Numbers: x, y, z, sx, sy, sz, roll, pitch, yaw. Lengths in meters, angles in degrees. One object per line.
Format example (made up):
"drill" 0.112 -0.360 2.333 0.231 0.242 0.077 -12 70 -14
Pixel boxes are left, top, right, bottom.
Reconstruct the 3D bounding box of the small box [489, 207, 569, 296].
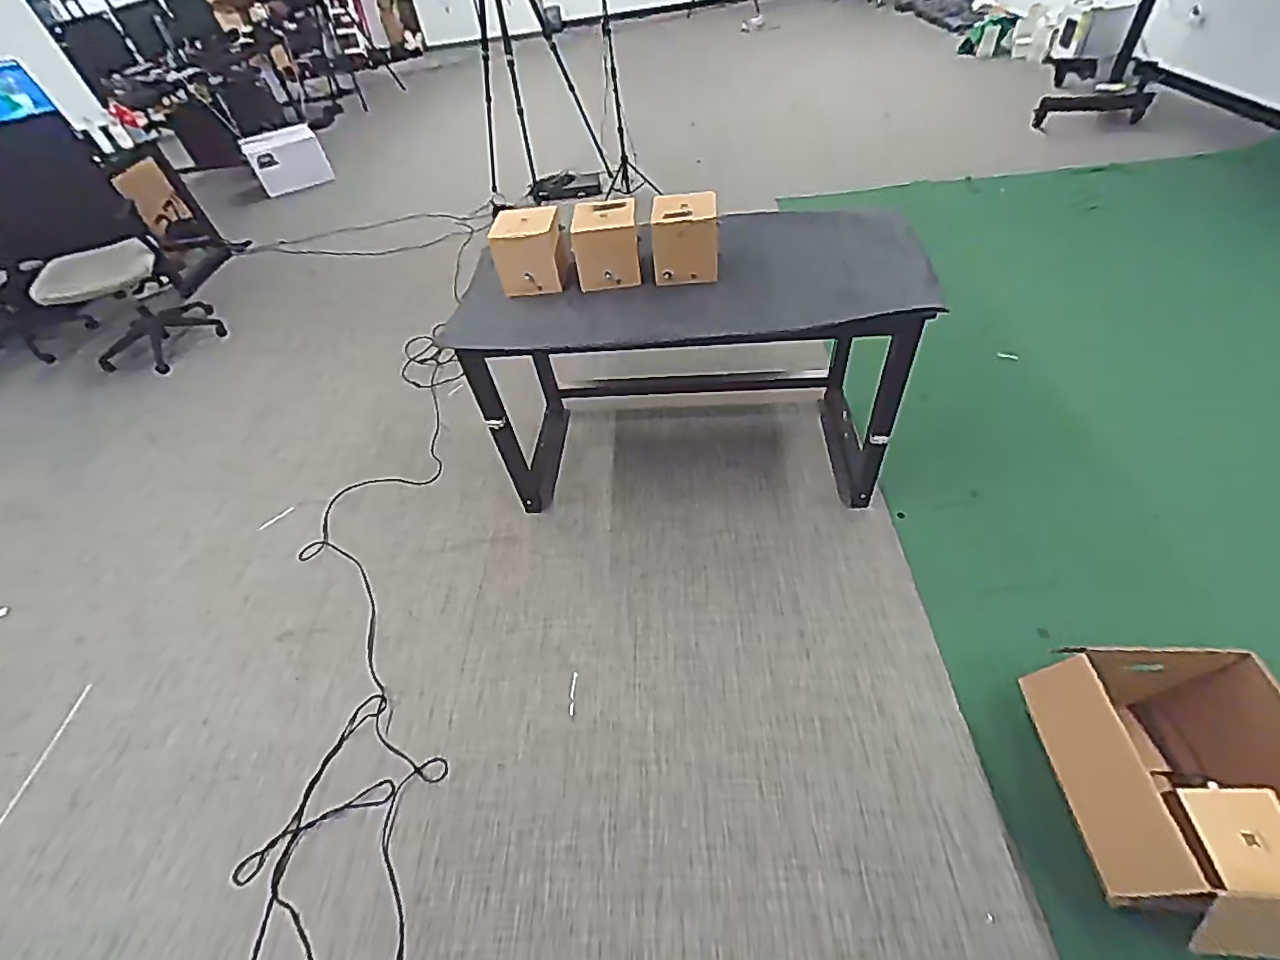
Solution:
"small box" -0.298 -0.630 1.497 0.168 0.176 0.179 -3 48 6
